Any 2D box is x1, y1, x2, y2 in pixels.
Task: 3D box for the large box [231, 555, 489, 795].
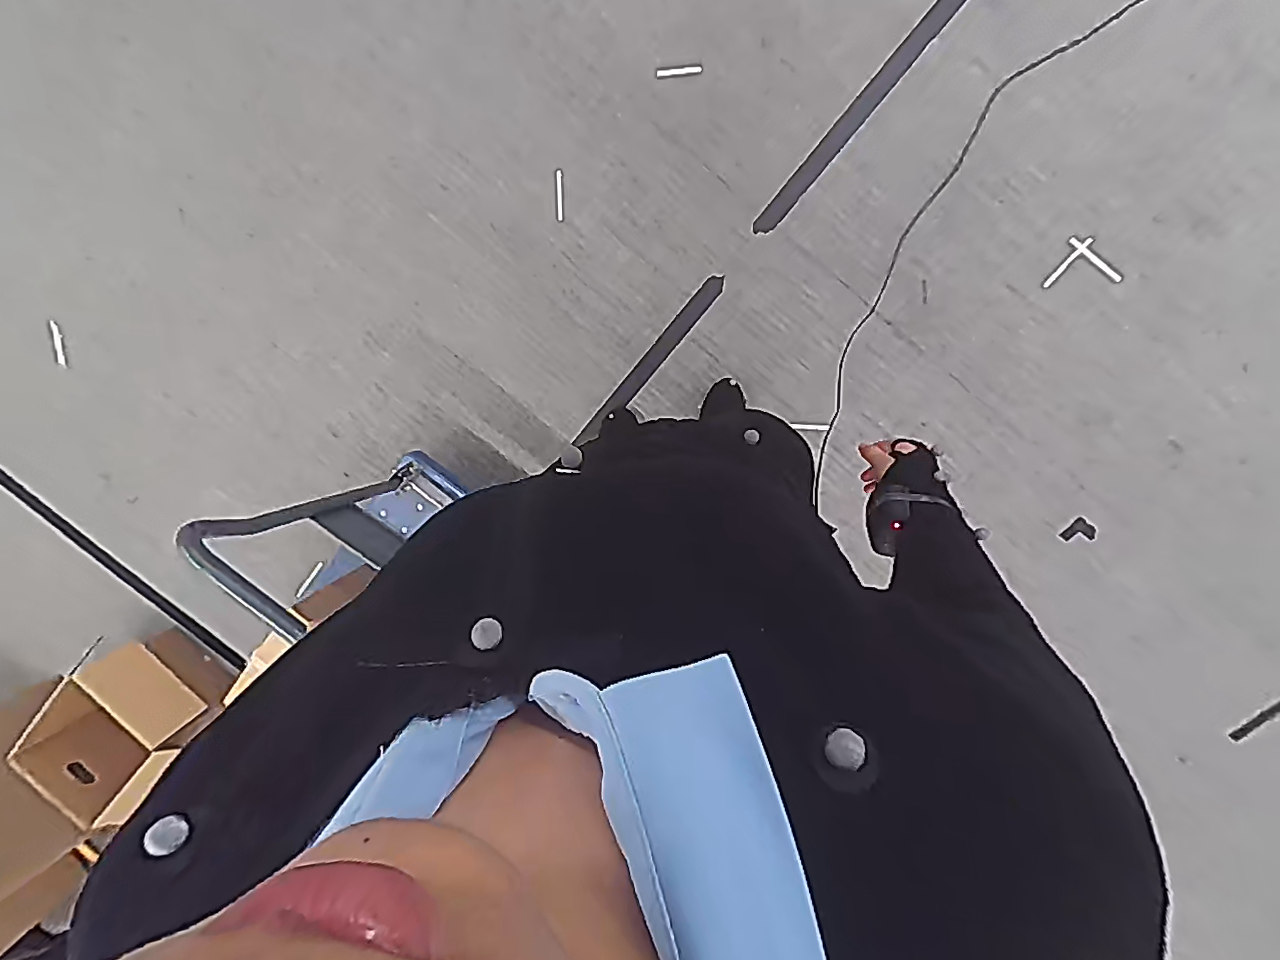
[{"bbox_3d":[-0.662,0.456,1.338,0.408,0.320,0.320,39,103,-4],"label":"large box"}]
